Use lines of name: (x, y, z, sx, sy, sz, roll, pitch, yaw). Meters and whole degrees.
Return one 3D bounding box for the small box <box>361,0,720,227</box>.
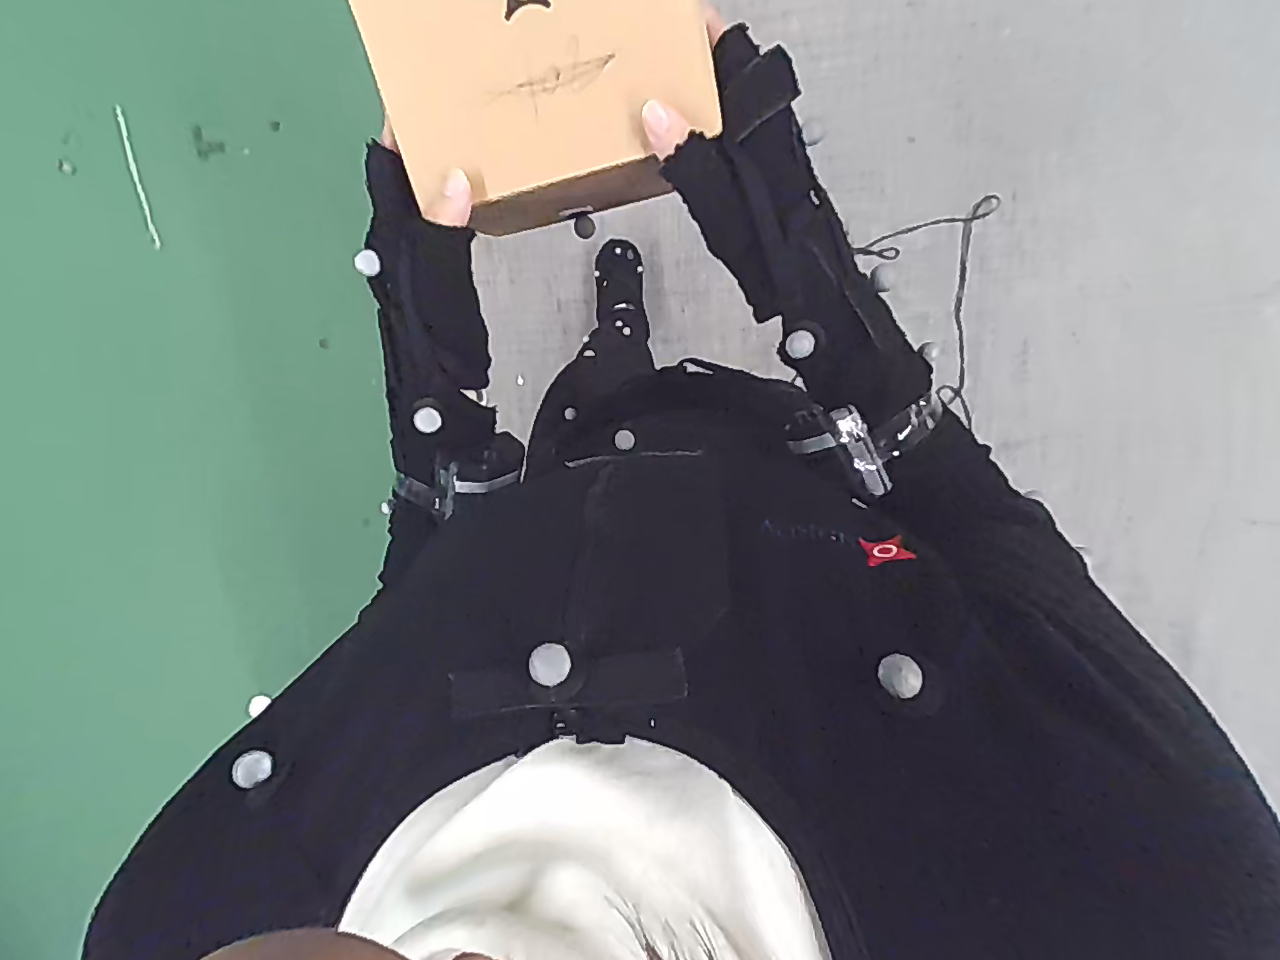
small box: (-0.053, -0.271, 0.331, 0.168, 0.176, 0.179, -11, 111, 6)
